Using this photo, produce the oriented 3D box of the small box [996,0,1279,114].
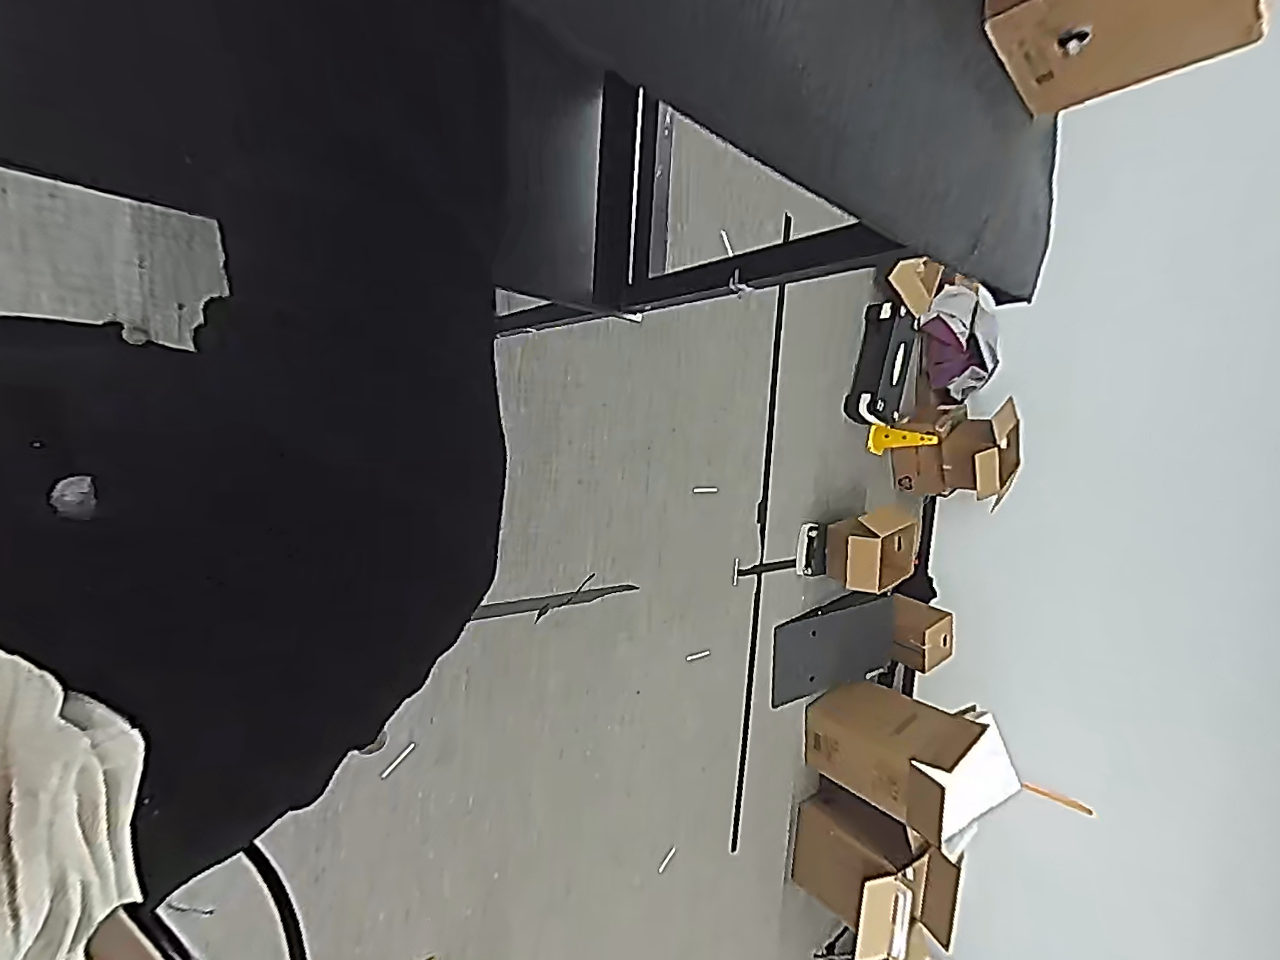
[{"bbox_3d":[0.431,-0.470,0.465,0.168,0.176,0.179,7,92,-40],"label":"small box"}]
